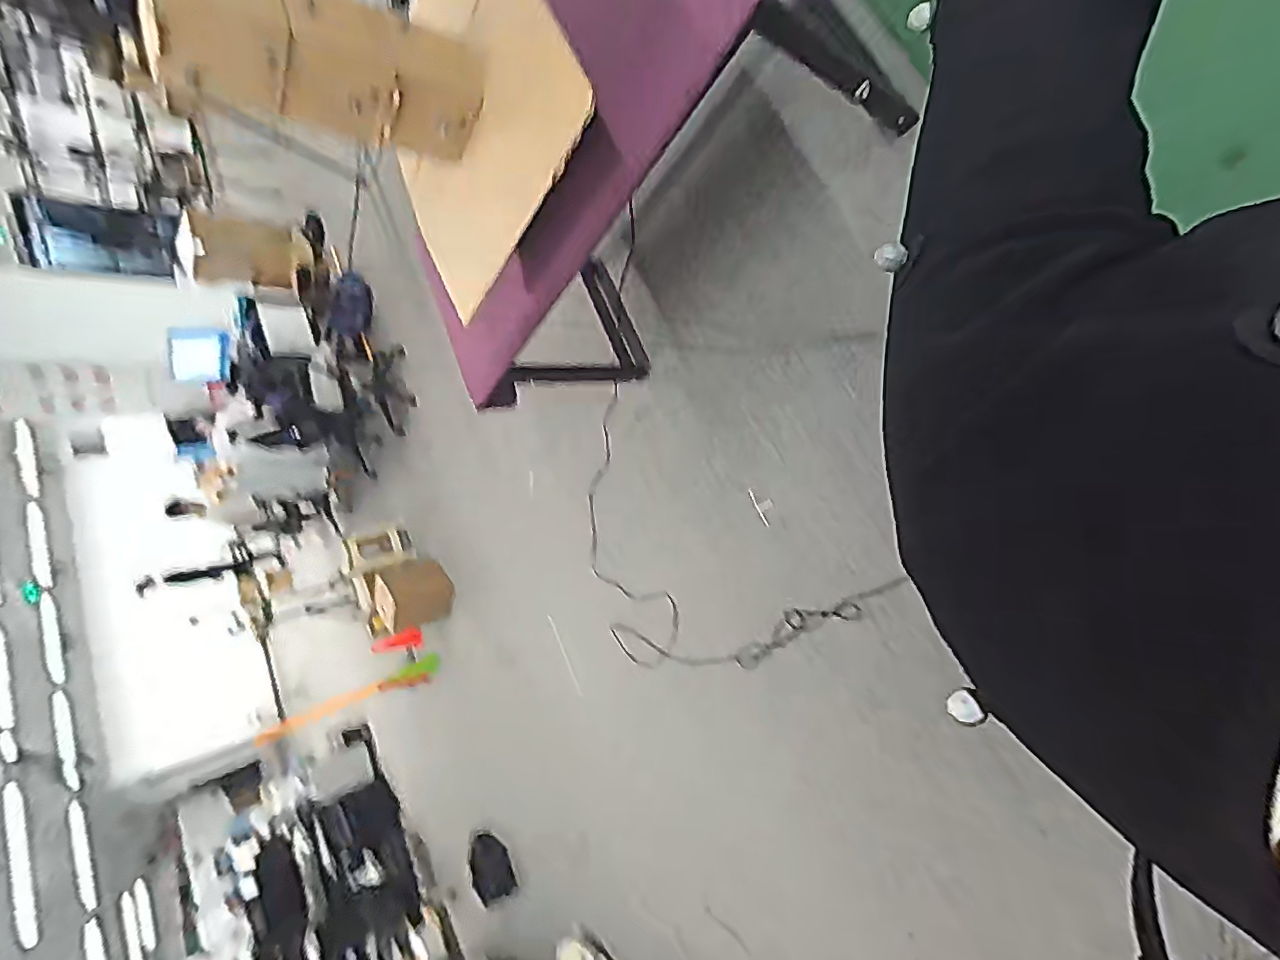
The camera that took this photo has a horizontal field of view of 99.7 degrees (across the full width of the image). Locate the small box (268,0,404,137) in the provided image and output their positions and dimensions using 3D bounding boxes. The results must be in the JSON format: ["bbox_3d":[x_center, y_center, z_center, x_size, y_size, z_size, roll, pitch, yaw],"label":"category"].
[{"bbox_3d":[-0.553,-0.771,0.985,0.168,0.176,0.179,-37,70,44],"label":"small box"}]

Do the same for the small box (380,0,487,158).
[{"bbox_3d":[-0.436,-0.797,1.095,0.168,0.176,0.179,-34,72,46],"label":"small box"}]
